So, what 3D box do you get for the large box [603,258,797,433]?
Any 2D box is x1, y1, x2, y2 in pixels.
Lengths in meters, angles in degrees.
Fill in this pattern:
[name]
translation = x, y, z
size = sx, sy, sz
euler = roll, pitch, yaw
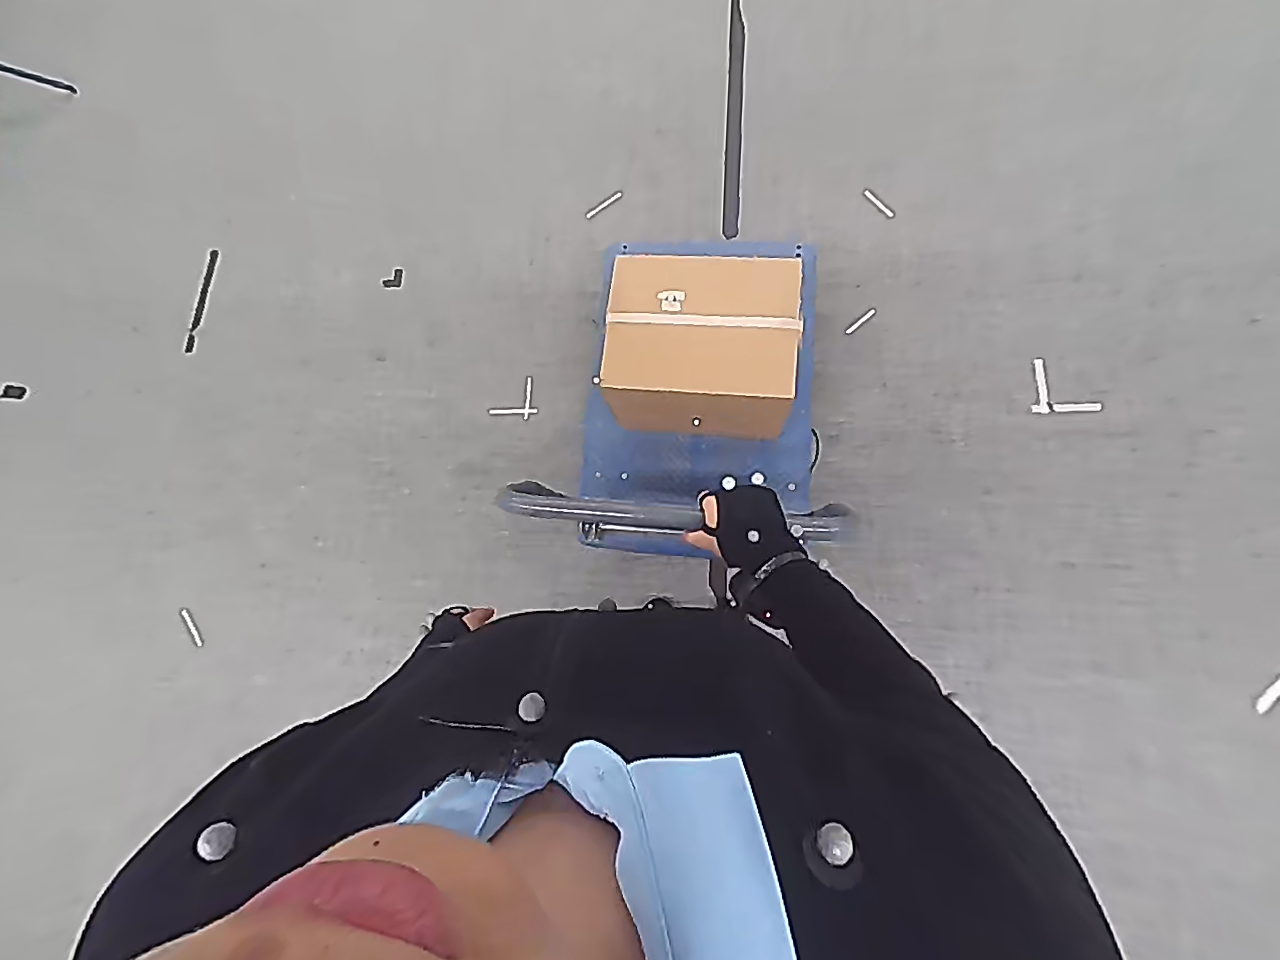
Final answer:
[large box]
translation = 0.151, -0.304, 1.297
size = 0.408, 0.320, 0.320
euler = 4, 78, 10
